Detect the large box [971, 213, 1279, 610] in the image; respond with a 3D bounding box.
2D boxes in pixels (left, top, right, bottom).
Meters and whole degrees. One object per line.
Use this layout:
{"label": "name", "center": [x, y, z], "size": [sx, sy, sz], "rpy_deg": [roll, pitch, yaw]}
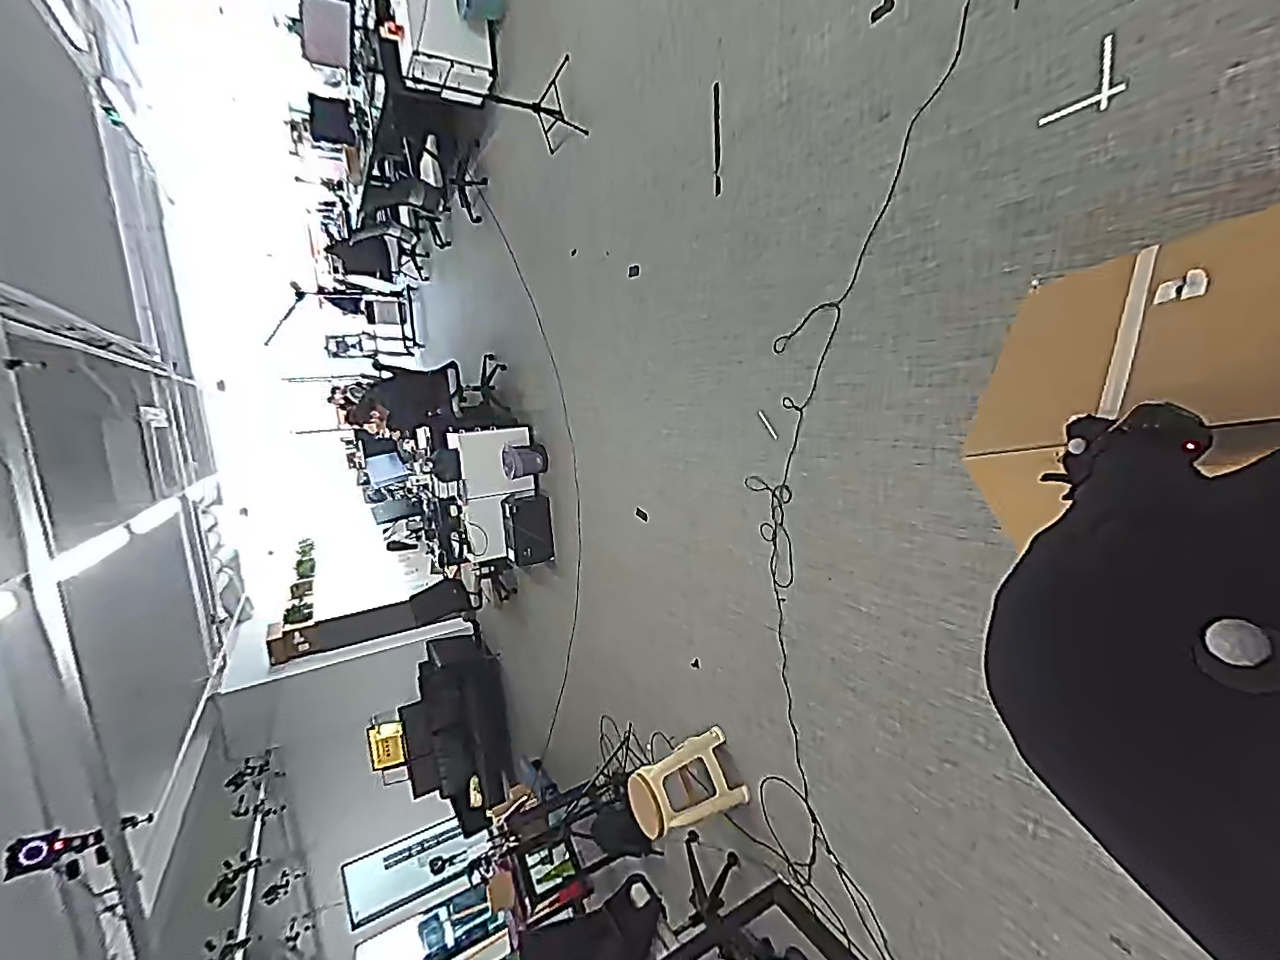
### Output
{"label": "large box", "center": [0.729, -0.078, 0.742], "size": [0.320, 0.408, 0.320], "rpy_deg": [48, 152, -20]}
